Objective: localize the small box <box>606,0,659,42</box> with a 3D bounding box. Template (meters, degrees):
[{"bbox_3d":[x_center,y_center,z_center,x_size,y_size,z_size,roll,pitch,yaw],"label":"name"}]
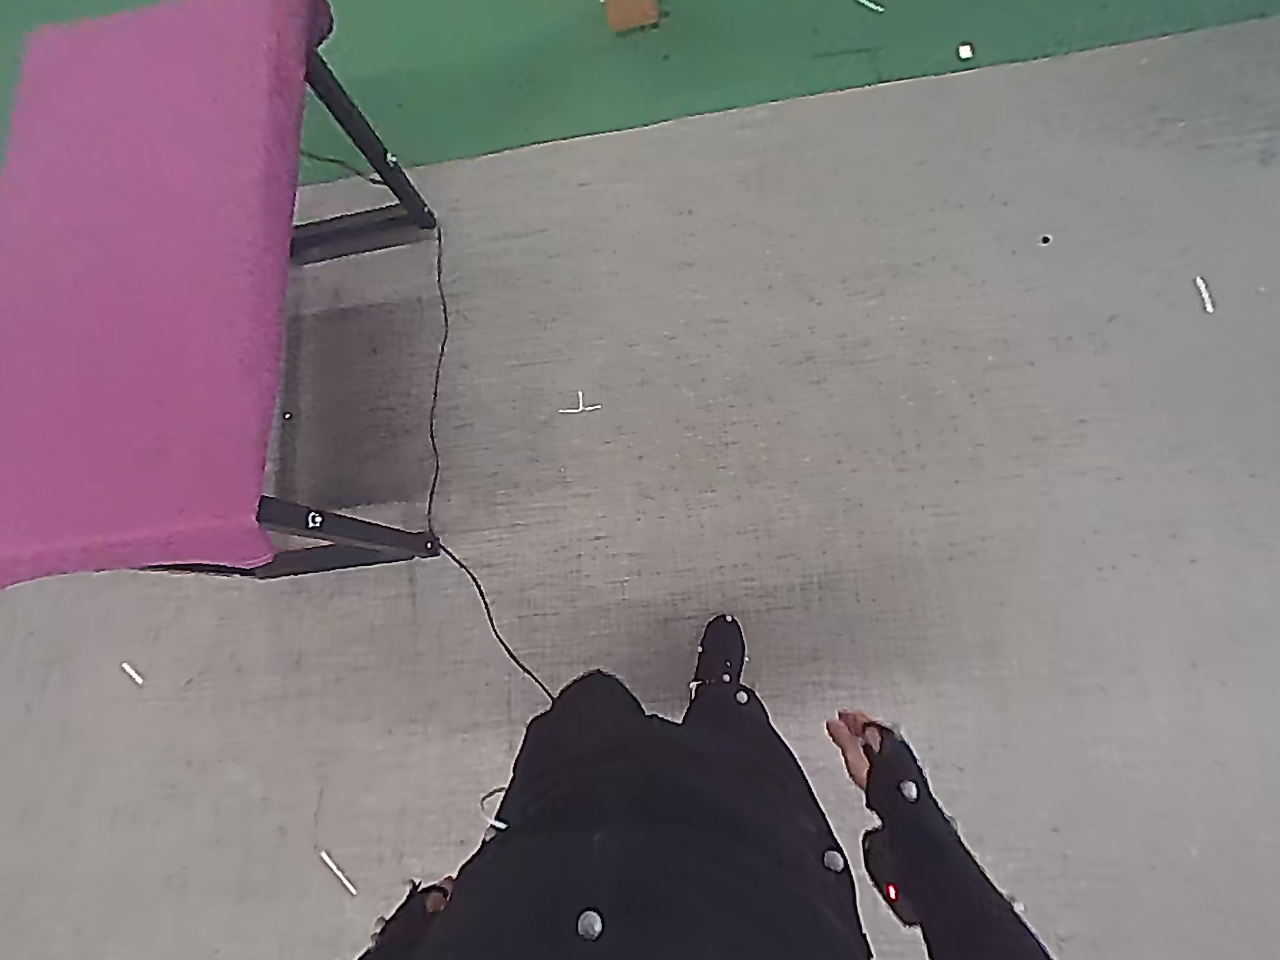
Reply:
[{"bbox_3d":[-0.031,-1.702,1.904,0.179,0.176,0.168,-10,75,5],"label":"small box"}]
